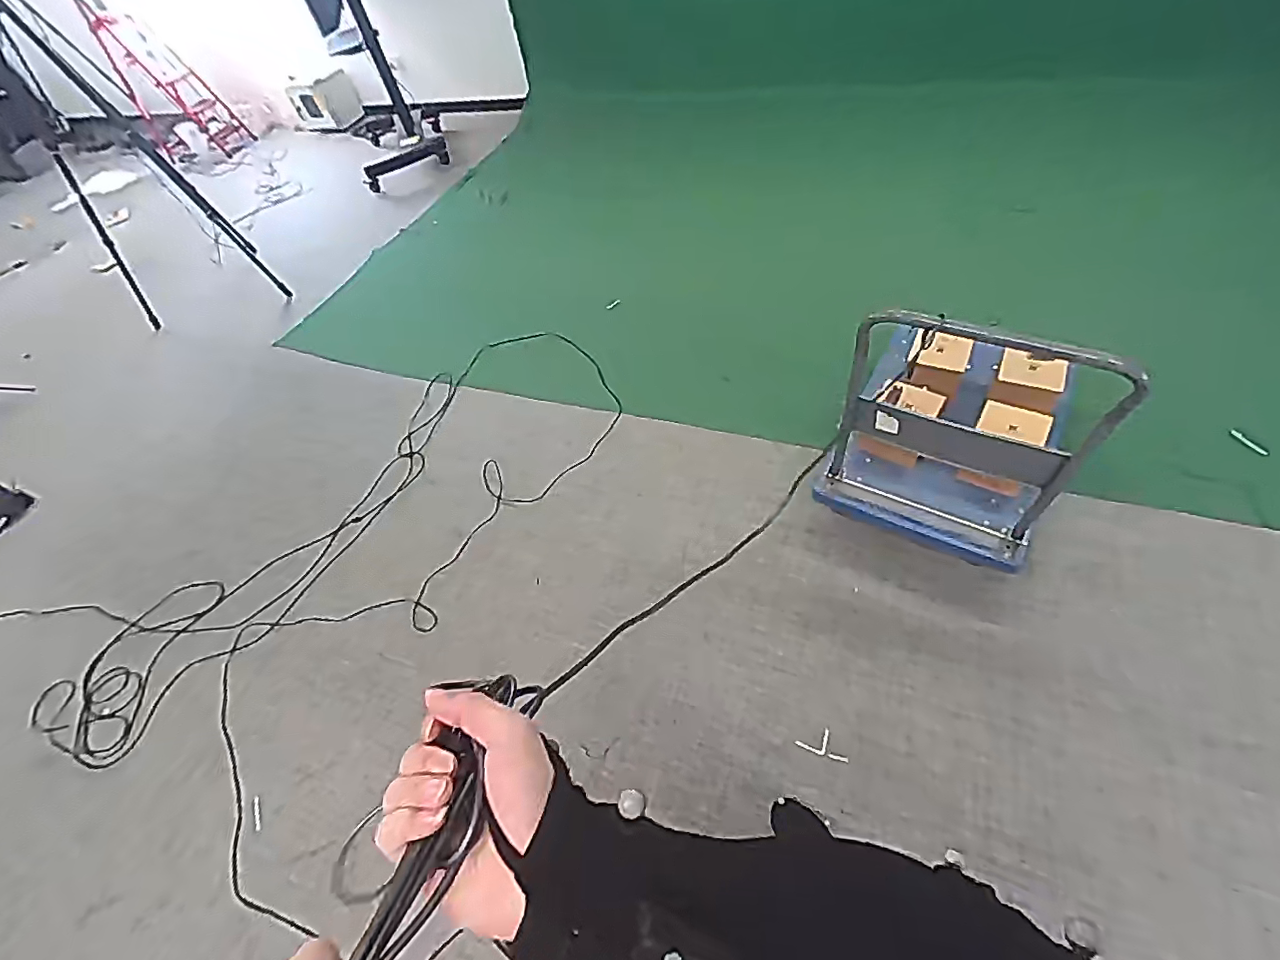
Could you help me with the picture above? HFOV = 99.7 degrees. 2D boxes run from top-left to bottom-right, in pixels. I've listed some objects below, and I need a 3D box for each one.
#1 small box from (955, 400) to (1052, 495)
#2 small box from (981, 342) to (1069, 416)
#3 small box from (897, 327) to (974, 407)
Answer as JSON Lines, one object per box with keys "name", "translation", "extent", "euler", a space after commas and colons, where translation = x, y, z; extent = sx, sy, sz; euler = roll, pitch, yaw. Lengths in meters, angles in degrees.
{"name": "small box", "translation": [1.026, -0.091, 1.538], "extent": [0.168, 0.176, 0.179], "euler": [24, 62, 26]}
{"name": "small box", "translation": [1.171, -0.288, 1.654], "extent": [0.168, 0.176, 0.179], "euler": [19, 61, 24]}
{"name": "small box", "translation": [0.953, -0.364, 1.755], "extent": [0.168, 0.176, 0.179], "euler": [20, 60, 23]}
